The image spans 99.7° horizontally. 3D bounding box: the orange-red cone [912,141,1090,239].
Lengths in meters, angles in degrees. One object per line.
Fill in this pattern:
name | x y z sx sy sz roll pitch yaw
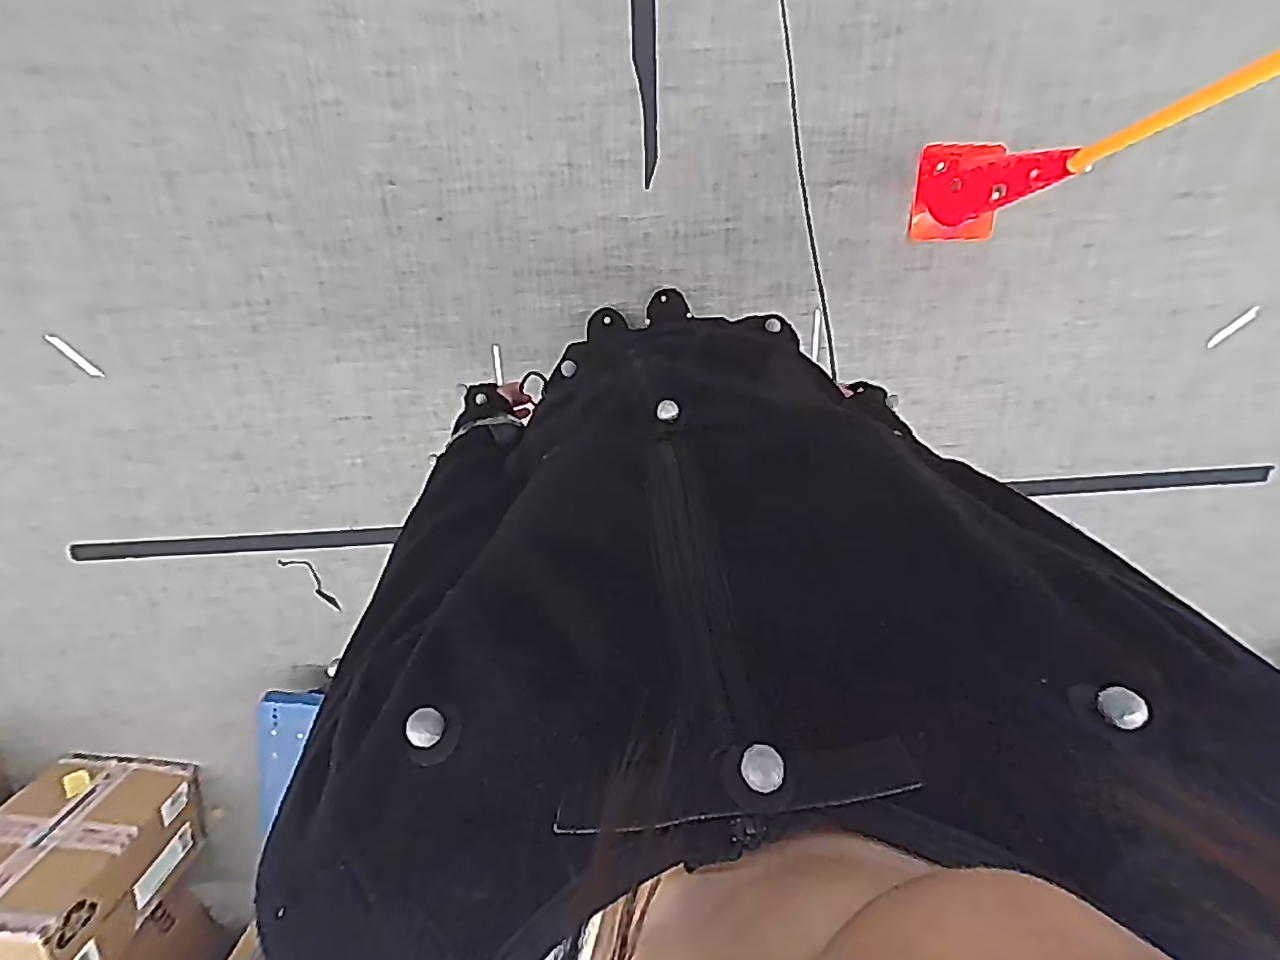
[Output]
orange-red cone | 0.739 -0.602 1.079 0.198 0.360 0.199 1 110 -2
